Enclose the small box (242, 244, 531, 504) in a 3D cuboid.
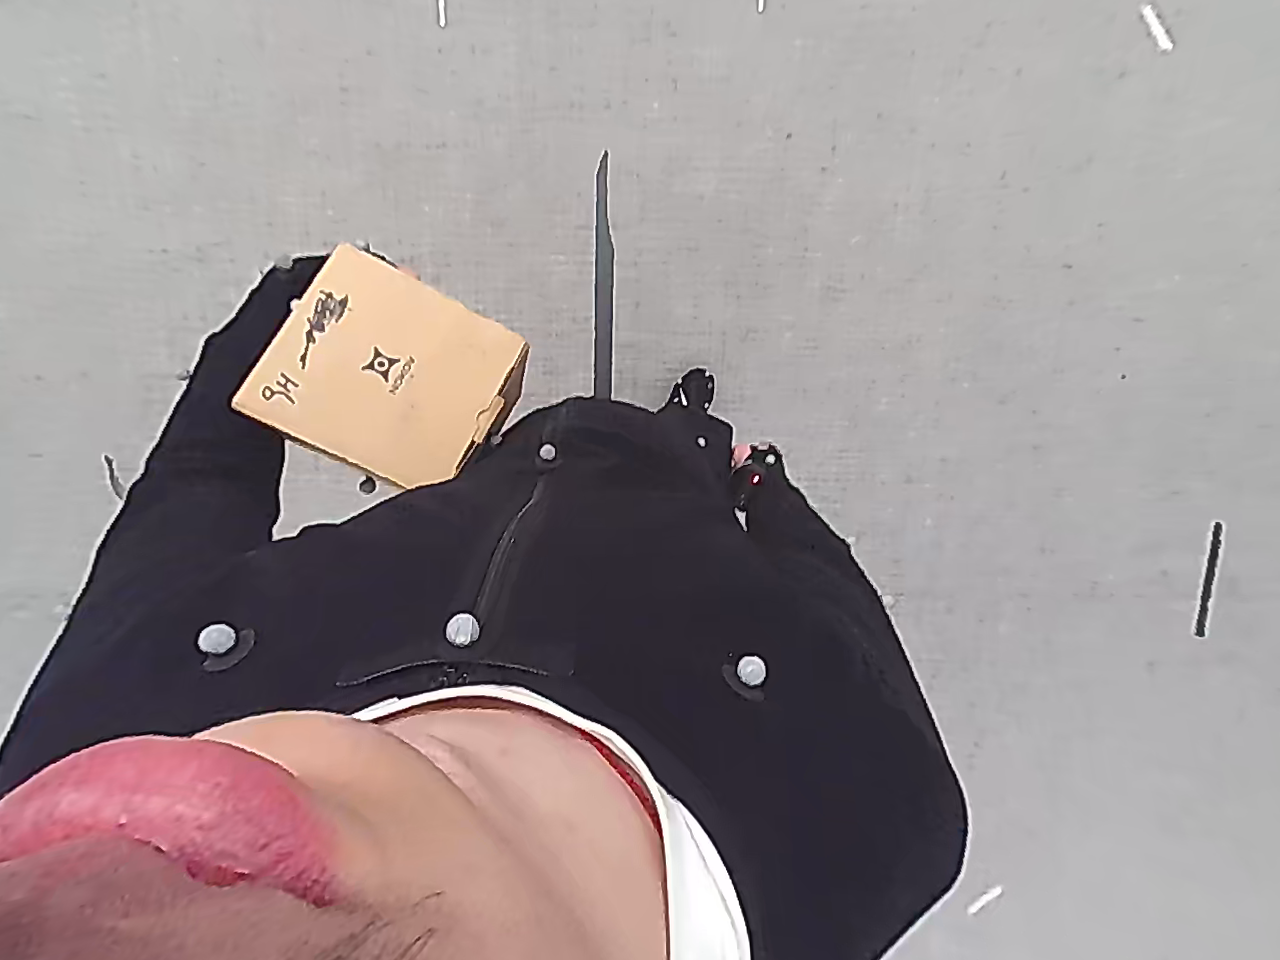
[{"bbox_3d":[-0.227,-0.084,0.534,0.179,0.176,0.168,27,76,-11],"label":"small box"}]
